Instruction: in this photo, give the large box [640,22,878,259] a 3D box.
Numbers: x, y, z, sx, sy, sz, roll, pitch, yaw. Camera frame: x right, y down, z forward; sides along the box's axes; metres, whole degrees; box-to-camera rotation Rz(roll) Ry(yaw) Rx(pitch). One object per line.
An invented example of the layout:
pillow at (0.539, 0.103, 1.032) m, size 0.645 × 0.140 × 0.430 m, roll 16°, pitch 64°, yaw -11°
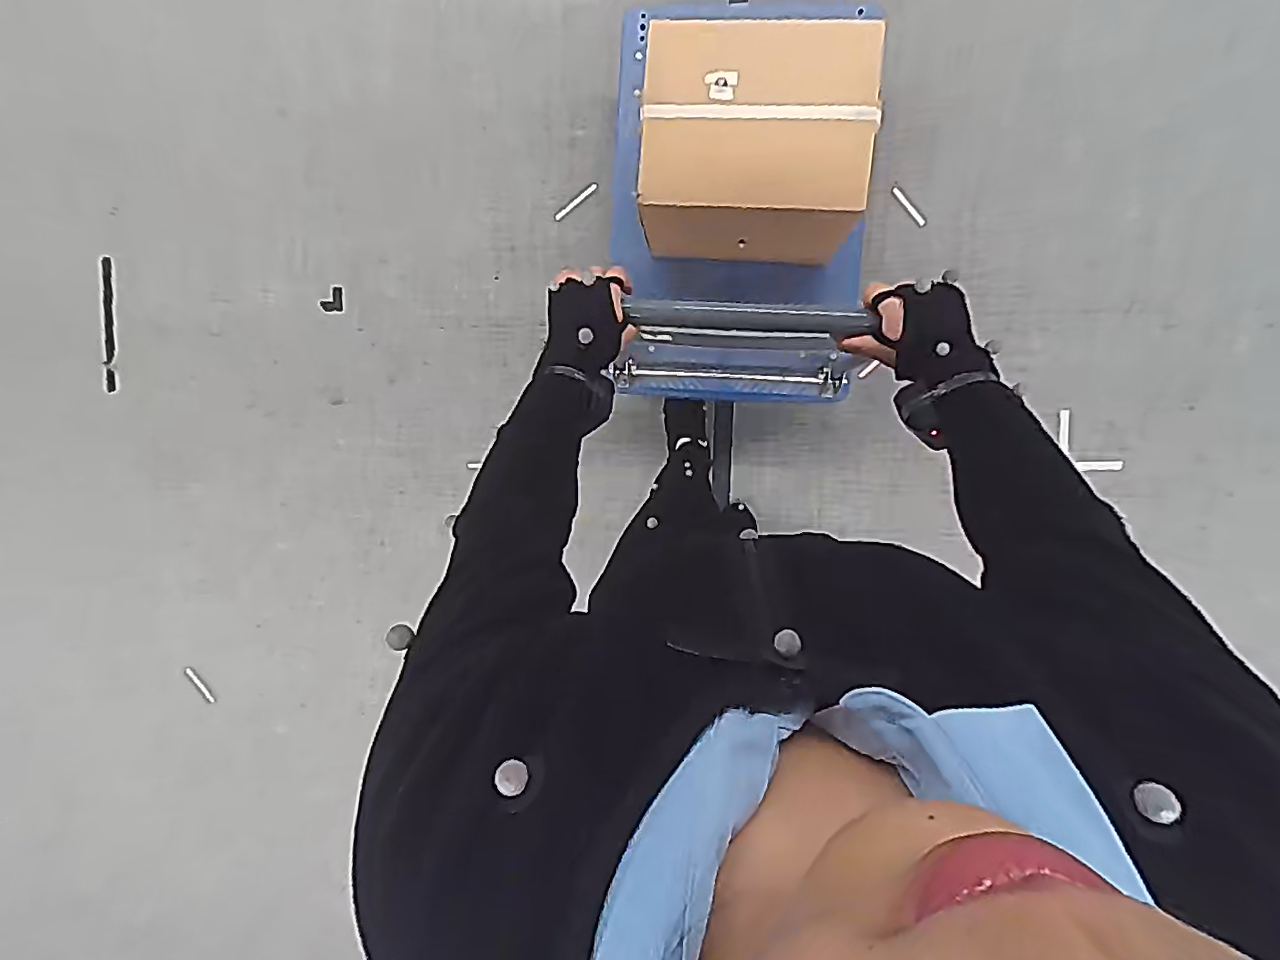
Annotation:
large box at (0.224, -0.656, 1.106) m, size 0.408 × 0.320 × 0.320 m, roll 4°, pitch 94°, yaw 7°
